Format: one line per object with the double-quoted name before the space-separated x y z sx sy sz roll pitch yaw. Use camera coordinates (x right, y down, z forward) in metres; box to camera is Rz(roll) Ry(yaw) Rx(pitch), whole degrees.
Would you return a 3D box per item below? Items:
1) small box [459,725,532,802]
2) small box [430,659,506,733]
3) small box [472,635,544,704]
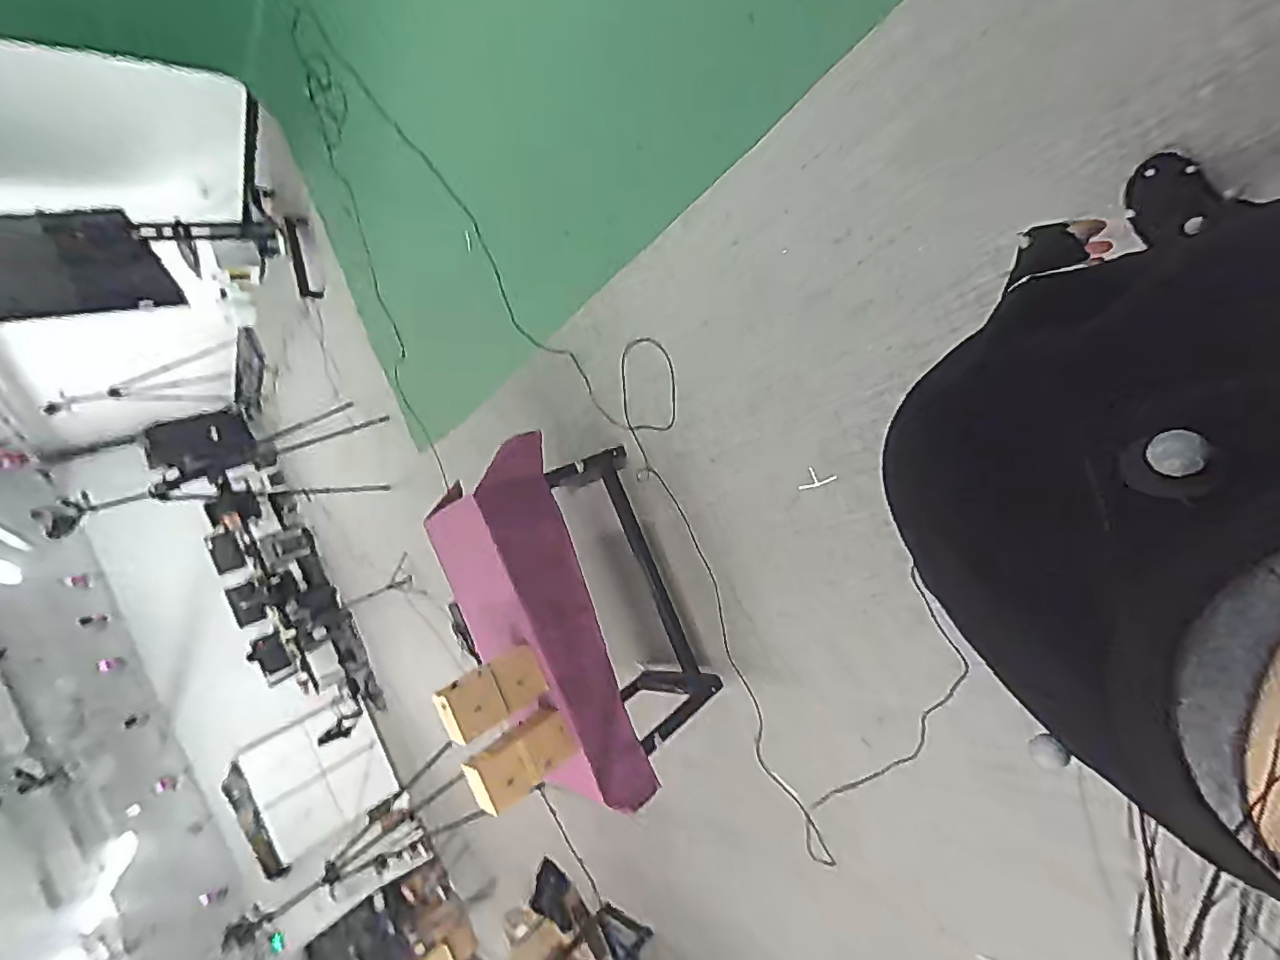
"small box" -0.498 0.978 1.882 0.179 0.176 0.168 -27 88 52
"small box" -0.592 0.736 1.865 0.168 0.176 0.179 -20 94 51
"small box" -0.477 0.687 1.973 0.168 0.176 0.179 -22 91 50
